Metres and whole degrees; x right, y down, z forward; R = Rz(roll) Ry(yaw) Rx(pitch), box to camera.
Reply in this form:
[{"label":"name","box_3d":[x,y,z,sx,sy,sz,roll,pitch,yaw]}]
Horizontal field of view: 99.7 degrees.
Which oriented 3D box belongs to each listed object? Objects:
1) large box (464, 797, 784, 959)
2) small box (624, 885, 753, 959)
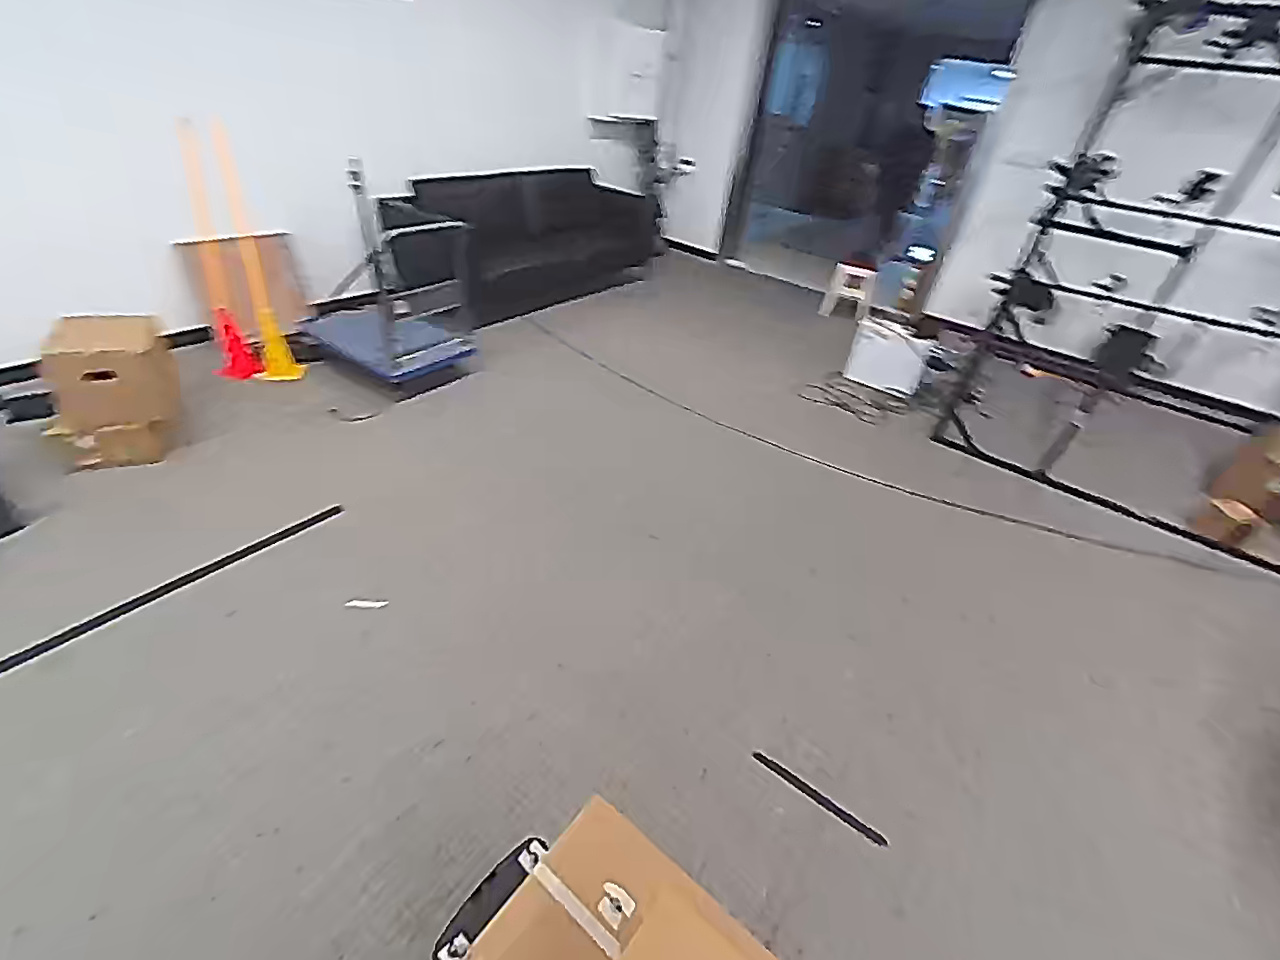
[{"label":"large box","box_3d":[-0.023,0.839,0.880,0.408,0.320,0.320,29,40,28]},{"label":"small box","box_3d":[0.056,0.682,0.691,0.179,0.176,0.168,30,42,28]}]
